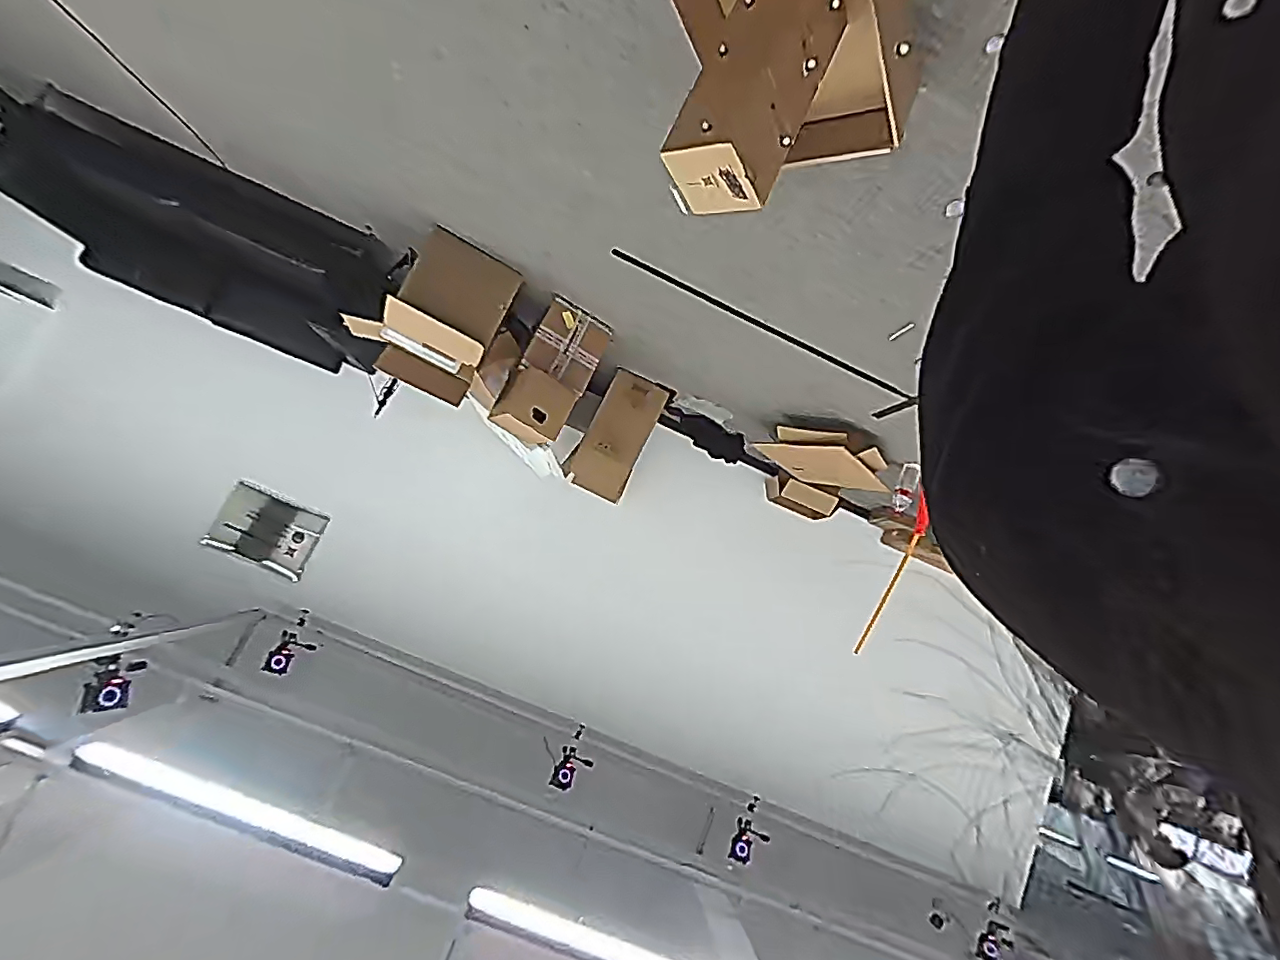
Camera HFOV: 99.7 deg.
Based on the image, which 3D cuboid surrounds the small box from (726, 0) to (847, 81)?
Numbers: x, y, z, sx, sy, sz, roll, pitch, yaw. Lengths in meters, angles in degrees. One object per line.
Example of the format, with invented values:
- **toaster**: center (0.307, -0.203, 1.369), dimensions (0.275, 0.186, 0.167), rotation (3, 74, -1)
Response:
- **small box**: center (0.312, -0.974, 1.142), dimensions (0.179, 0.176, 0.168), rotation (17, 169, 35)

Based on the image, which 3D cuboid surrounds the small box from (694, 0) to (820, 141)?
- **small box**: center (0.245, -0.828, 1.116), dimensions (0.179, 0.176, 0.168), rotation (16, 169, 36)

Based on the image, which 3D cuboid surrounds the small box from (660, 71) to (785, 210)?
- **small box**: center (0.177, -0.681, 1.093), dimensions (0.179, 0.176, 0.168), rotation (18, 170, 38)
